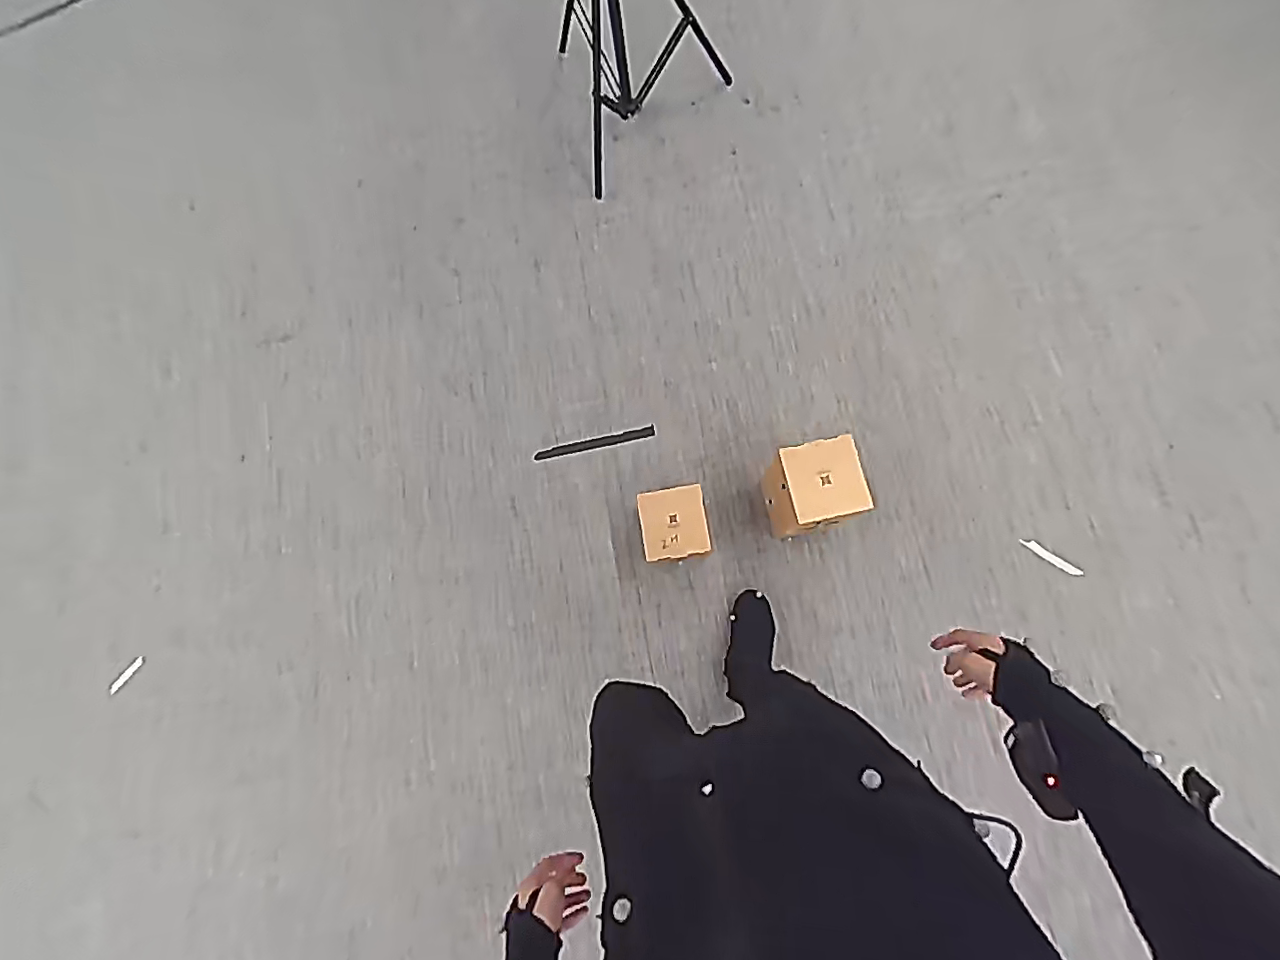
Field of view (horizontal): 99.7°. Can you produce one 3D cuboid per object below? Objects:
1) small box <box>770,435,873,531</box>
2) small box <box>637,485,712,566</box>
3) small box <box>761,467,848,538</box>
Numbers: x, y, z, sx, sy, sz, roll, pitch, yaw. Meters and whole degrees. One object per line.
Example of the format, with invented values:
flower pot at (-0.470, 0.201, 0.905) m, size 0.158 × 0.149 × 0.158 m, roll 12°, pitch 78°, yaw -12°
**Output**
small box at (0.410, 0.016, 1.247) m, size 0.168 × 0.176 × 0.179 m, roll -13°, pitch 76°, yaw 2°
small box at (0.089, 0.124, 1.420) m, size 0.168 × 0.176 × 0.179 m, roll -10°, pitch 78°, yaw 3°
small box at (0.422, 0.050, 1.405) m, size 0.168 × 0.176 × 0.179 m, roll -13°, pitch 76°, yaw 2°
